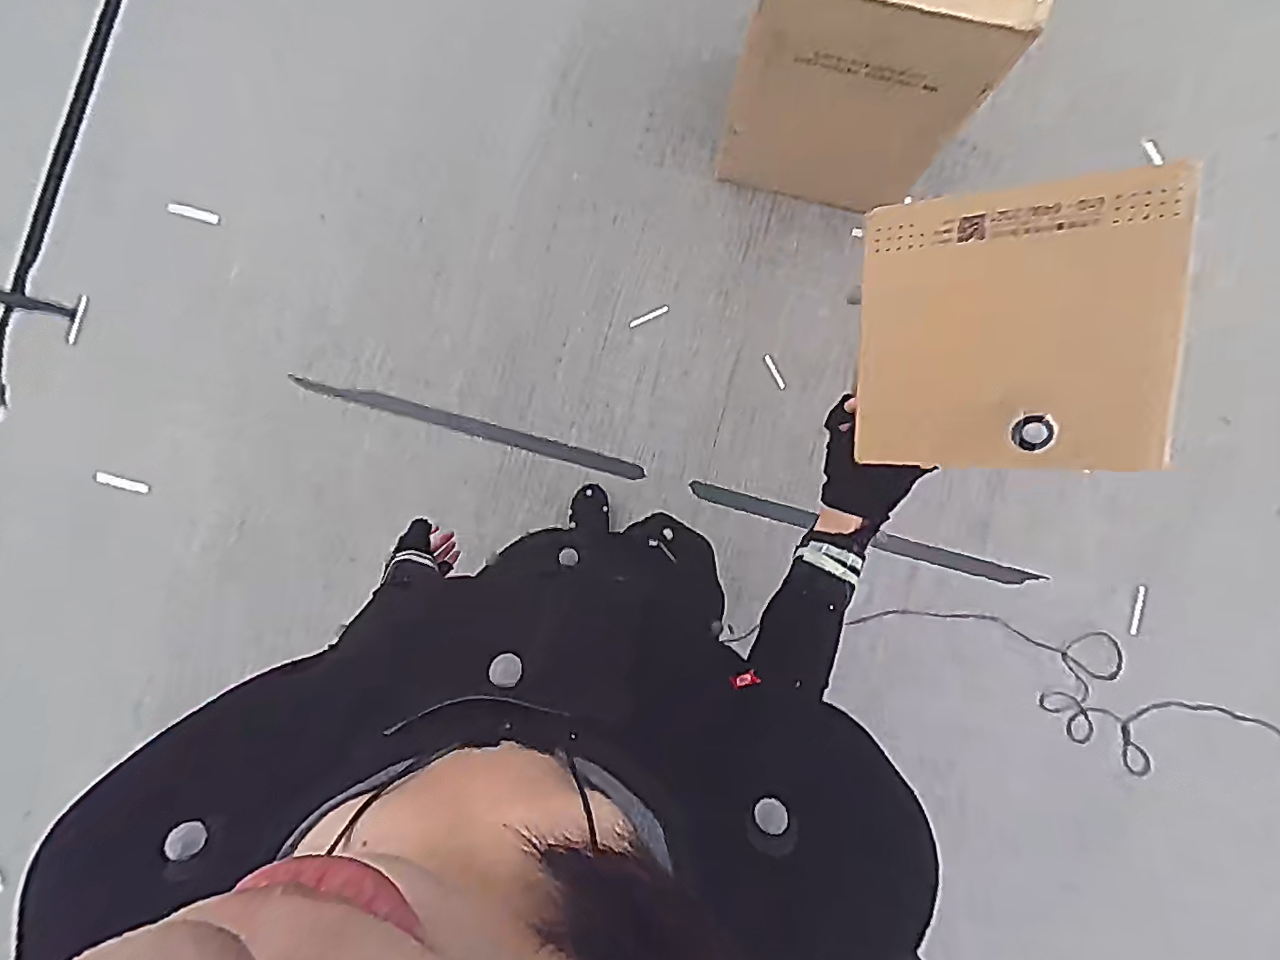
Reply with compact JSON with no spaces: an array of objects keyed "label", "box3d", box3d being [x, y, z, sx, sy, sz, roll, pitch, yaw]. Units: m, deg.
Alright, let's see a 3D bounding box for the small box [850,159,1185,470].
[{"label":"small box","box3d":[0.251,-0.105,0.396,0.168,0.179,0.176,3,99,26]}]
